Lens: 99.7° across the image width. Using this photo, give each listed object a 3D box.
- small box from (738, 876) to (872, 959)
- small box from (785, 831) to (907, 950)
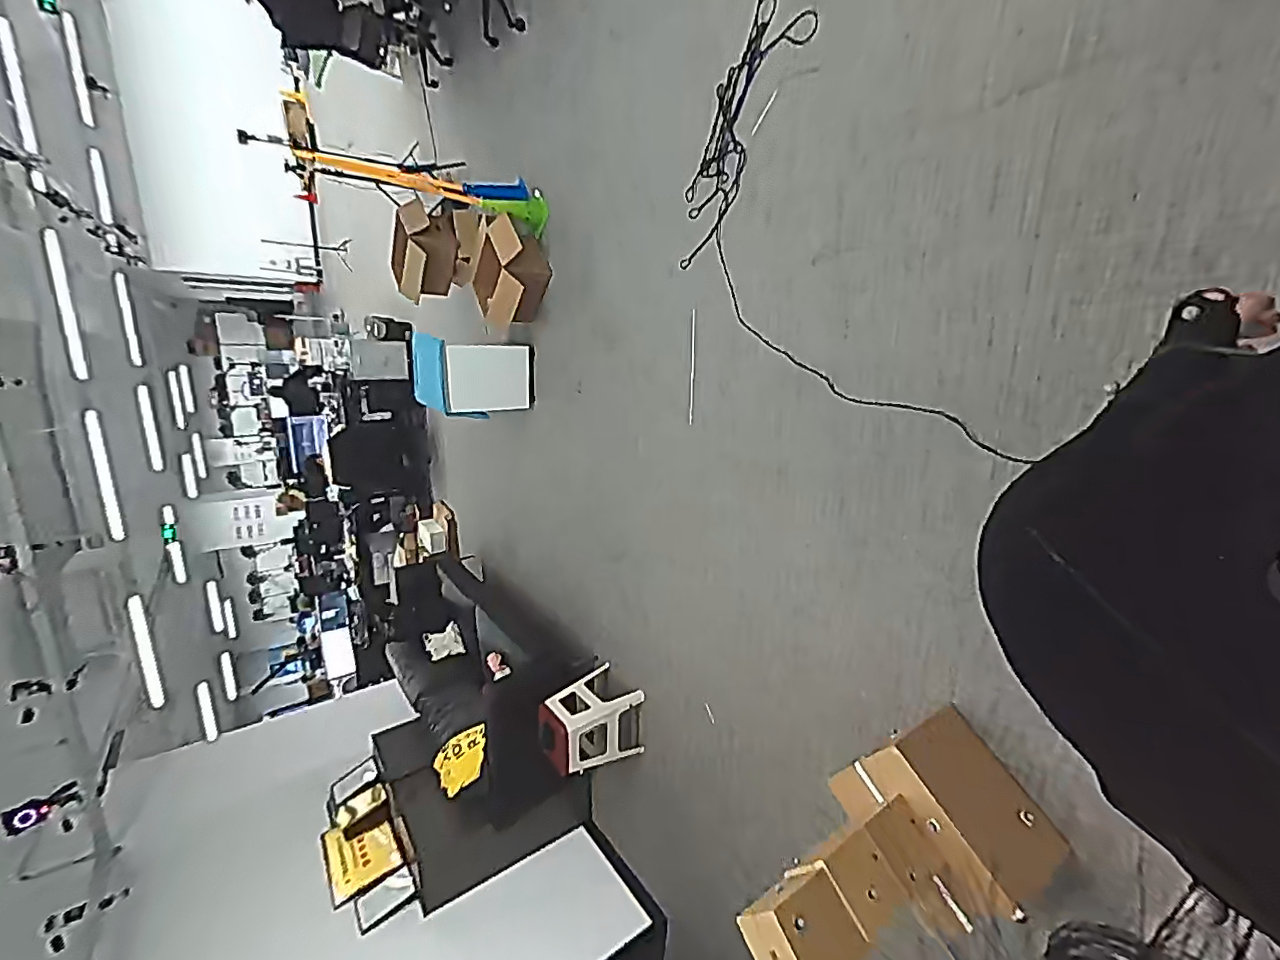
[{"bbox_3d":[0.350,0.985,1.156,0.179,0.176,0.168,58,141,29],"label":"small box"},{"bbox_3d":[0.481,0.951,1.251,0.168,0.176,0.179,57,140,31],"label":"small box"}]
